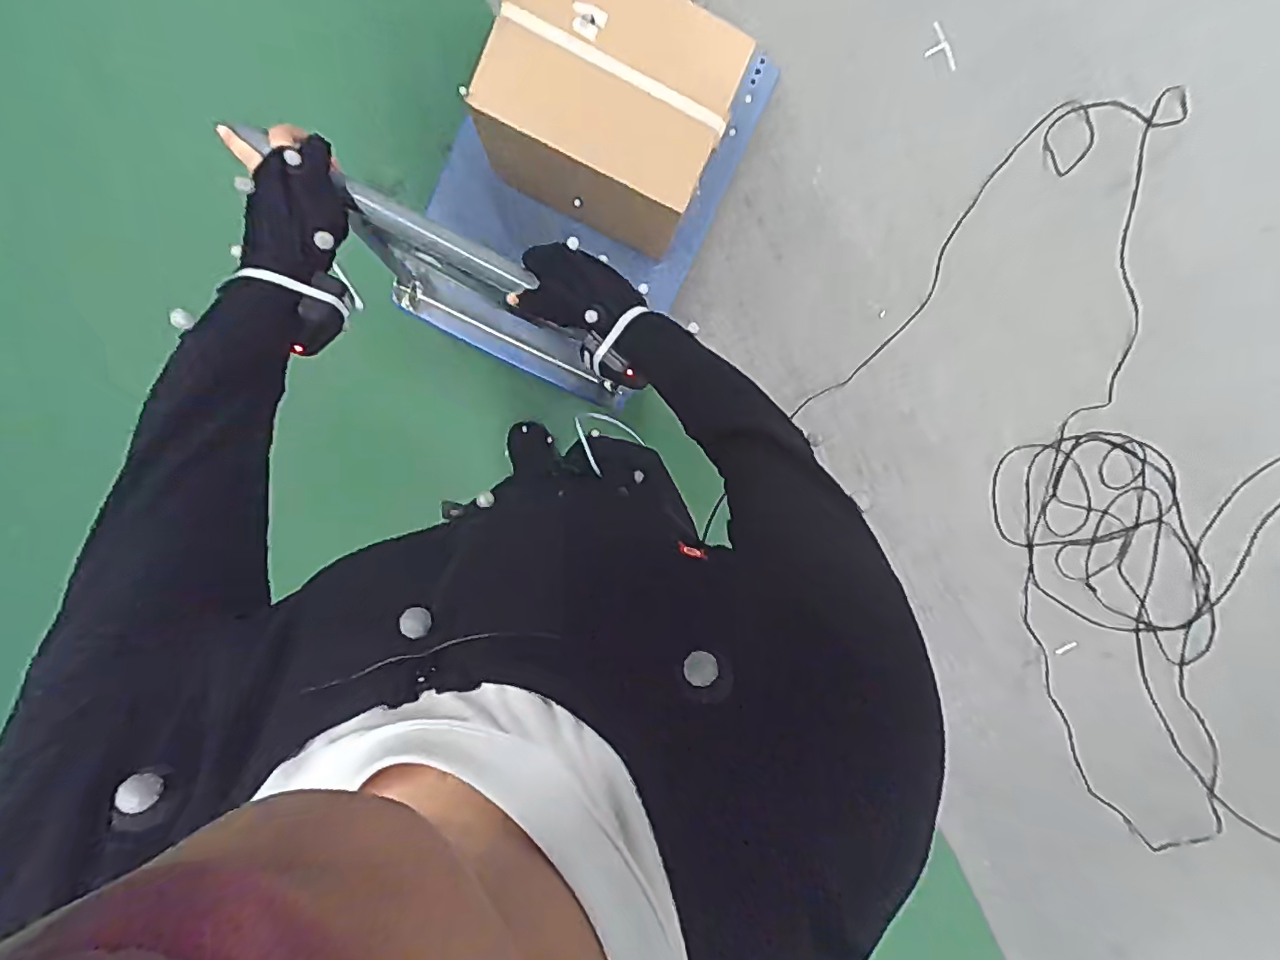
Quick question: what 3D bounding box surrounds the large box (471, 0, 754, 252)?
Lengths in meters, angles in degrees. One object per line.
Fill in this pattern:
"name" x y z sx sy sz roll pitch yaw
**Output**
"large box" -0.052 -0.709 1.057 0.408 0.320 0.320 24 95 -7
